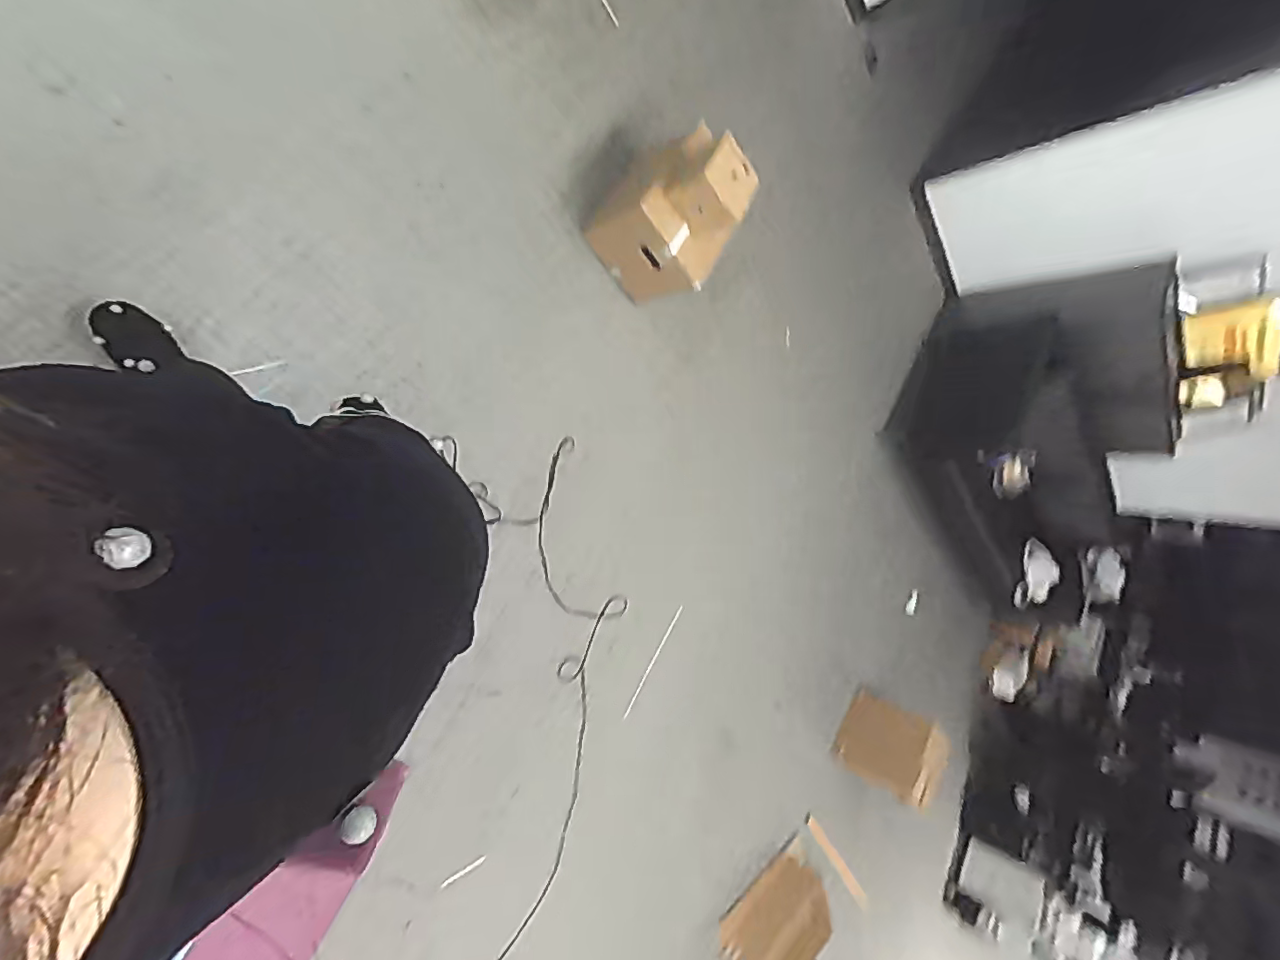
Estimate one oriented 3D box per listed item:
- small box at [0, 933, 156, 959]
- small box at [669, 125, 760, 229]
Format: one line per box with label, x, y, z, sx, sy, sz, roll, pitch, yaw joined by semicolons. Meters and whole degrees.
small box;-0.604;0.589;0.512;0.168;0.176;0.179;43;68;-35
small box;0.211;-0.869;1.570;0.168;0.176;0.179;38;71;-34
